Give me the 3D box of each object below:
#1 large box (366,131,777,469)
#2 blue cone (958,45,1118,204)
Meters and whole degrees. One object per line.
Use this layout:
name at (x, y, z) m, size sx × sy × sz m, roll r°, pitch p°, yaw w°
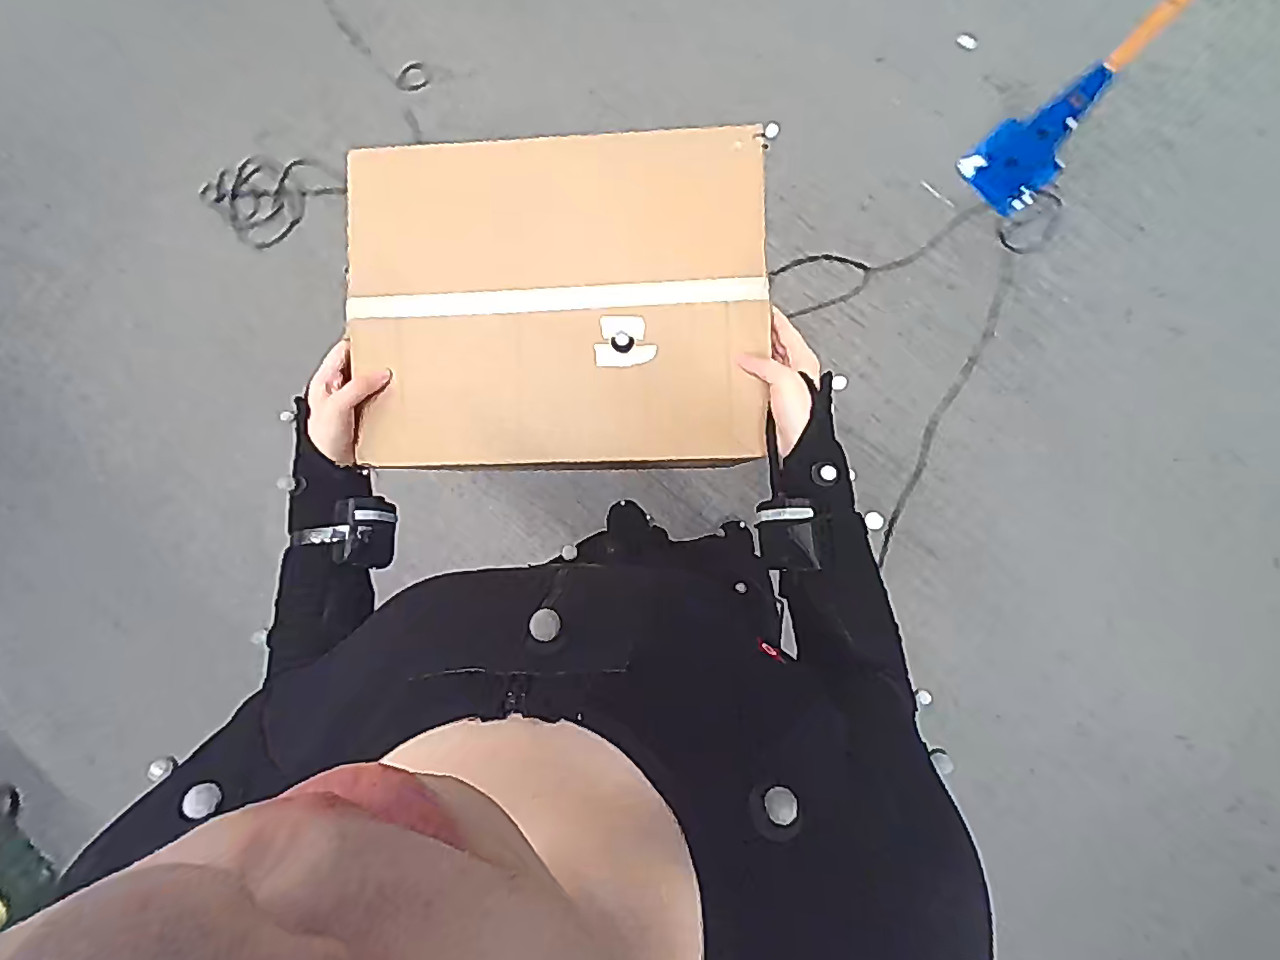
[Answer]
large box at (-0.066, -0.176, 0.673) m, size 0.408 × 0.320 × 0.320 m, roll -1°, pitch 90°, yaw 3°
blue cone at (0.955, -0.852, 1.276) m, size 0.192 × 0.380 × 0.193 m, roll -42°, pitch 86°, yaw 3°
